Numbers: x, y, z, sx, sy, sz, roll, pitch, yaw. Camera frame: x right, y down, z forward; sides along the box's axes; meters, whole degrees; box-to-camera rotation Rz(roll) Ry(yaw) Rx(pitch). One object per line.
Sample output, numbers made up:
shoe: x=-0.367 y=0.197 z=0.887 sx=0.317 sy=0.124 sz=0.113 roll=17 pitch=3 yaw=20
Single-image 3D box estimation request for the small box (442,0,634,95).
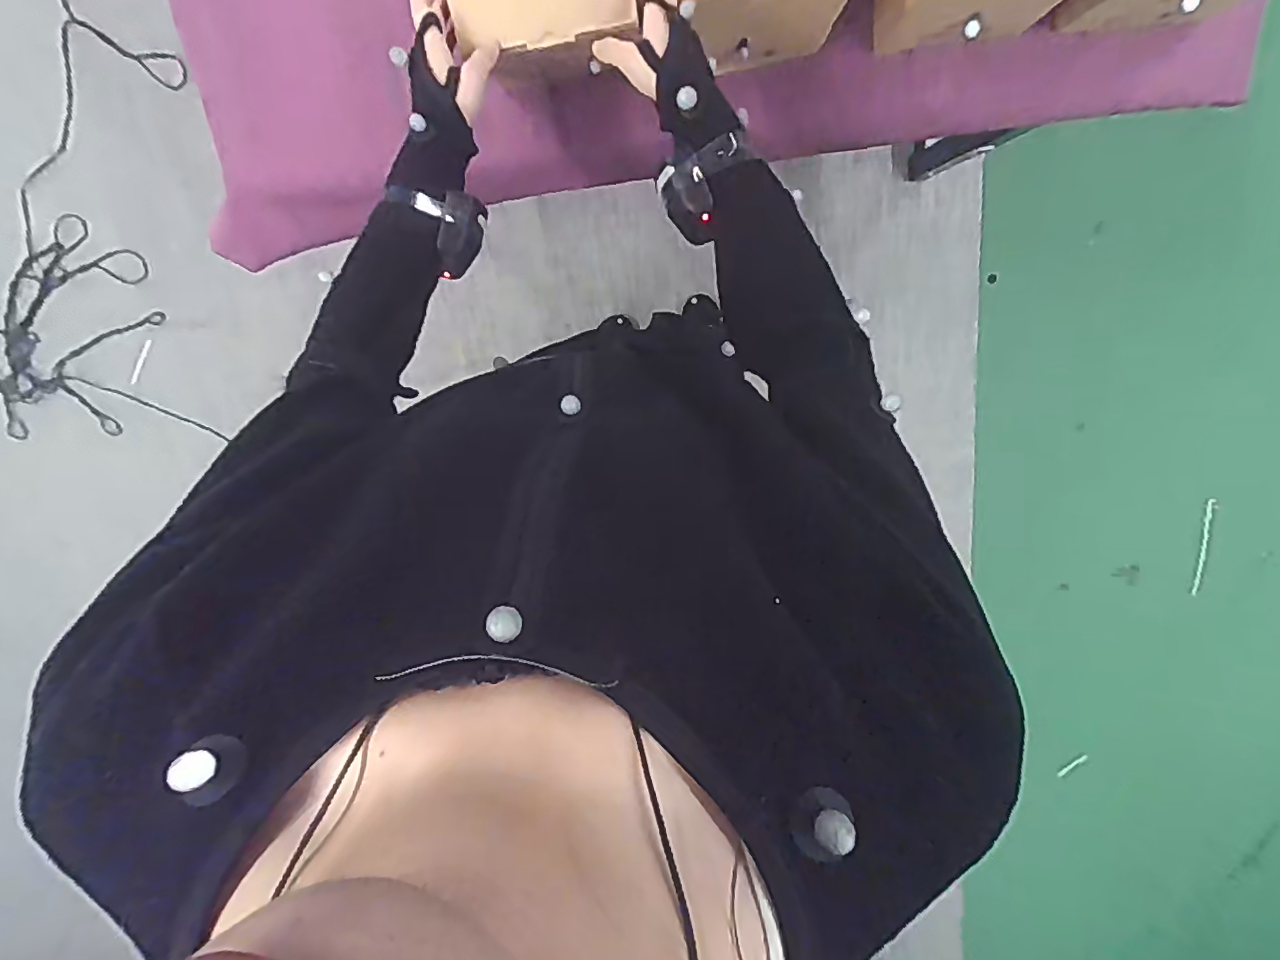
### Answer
small box: x=-0.097 y=-0.495 z=0.523 sx=0.168 sy=0.176 sz=0.179 roll=-8 pitch=117 yaw=3
